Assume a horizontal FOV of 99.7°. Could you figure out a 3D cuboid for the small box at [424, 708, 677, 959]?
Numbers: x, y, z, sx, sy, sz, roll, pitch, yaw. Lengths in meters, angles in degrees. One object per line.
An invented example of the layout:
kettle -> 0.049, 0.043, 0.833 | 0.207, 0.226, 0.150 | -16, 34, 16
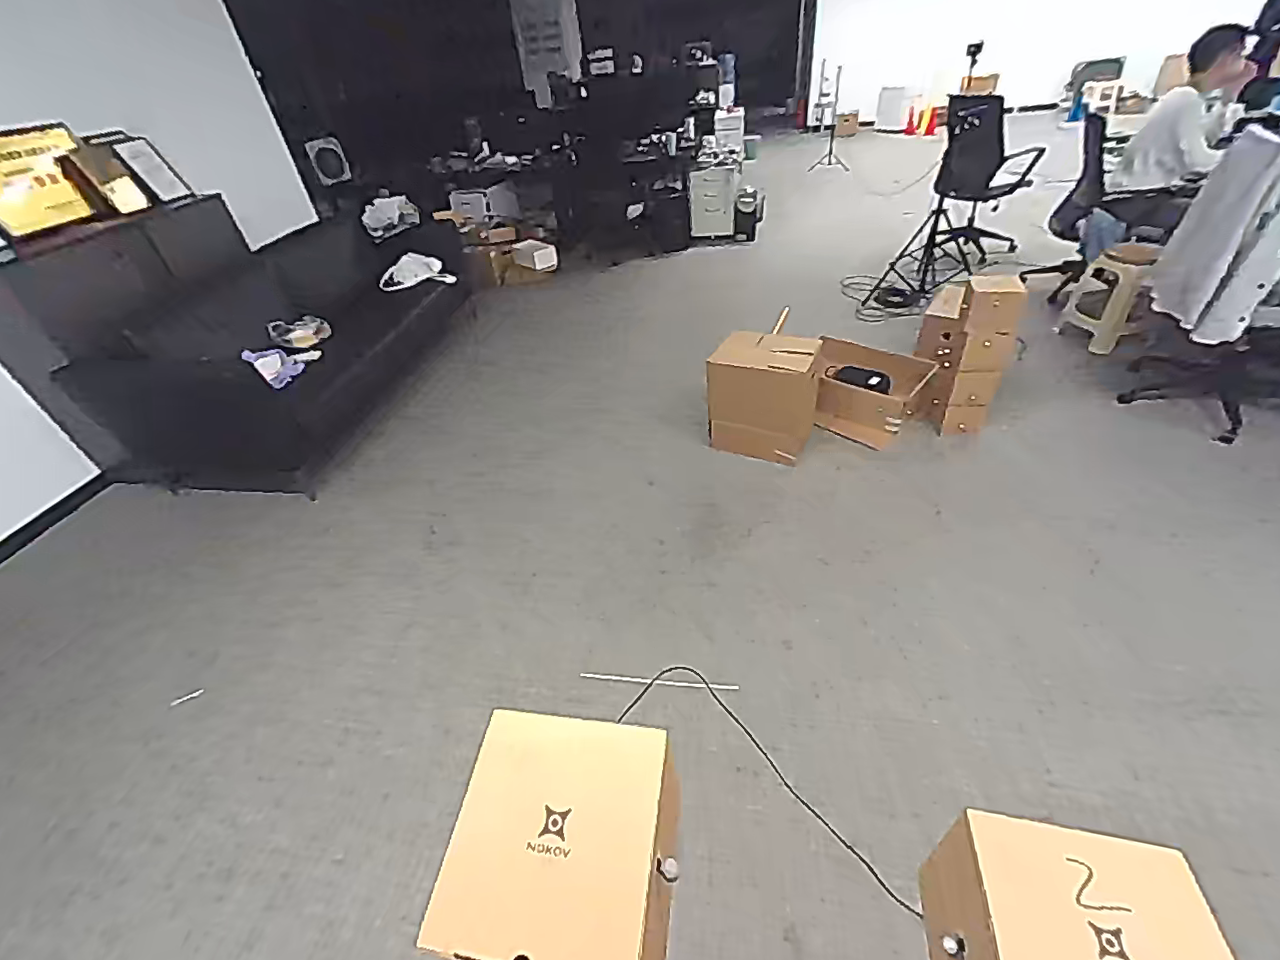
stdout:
small box -> -0.059, 0.336, 0.496 | 0.168, 0.176, 0.179 | 1, 48, 12
